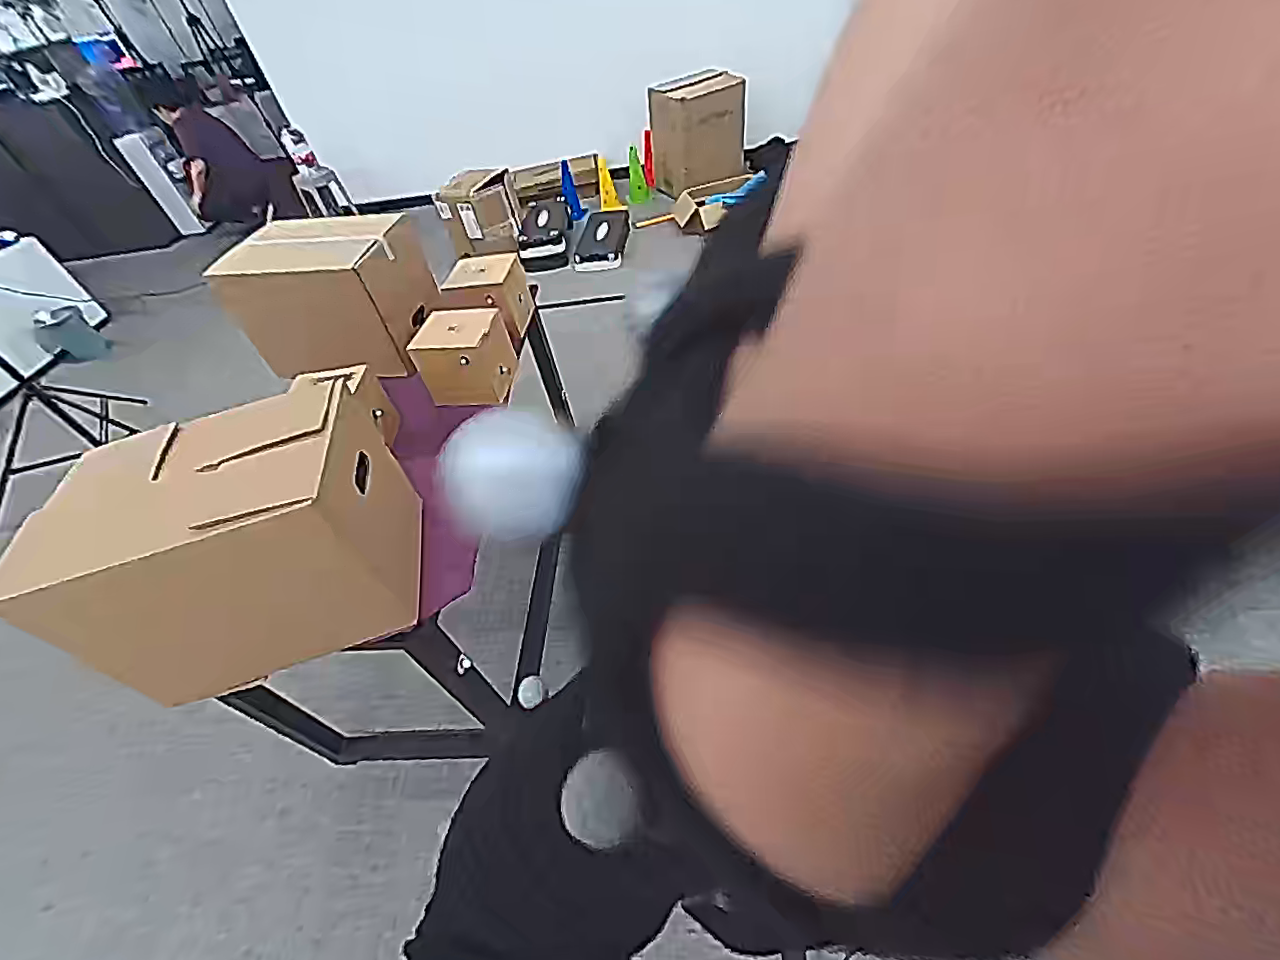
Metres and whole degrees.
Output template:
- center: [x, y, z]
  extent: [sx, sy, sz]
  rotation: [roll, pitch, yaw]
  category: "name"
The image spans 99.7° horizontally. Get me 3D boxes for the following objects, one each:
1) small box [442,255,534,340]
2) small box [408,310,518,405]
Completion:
- center: [-0.412, -0.498, 1.504]
  extent: [0.179, 0.176, 0.168]
  rotation: [-3, 47, 11]
  category: "small box"
- center: [-0.421, -0.295, 1.319]
  extent: [0.179, 0.176, 0.168]
  rotation: [0, 47, 10]
  category: "small box"
